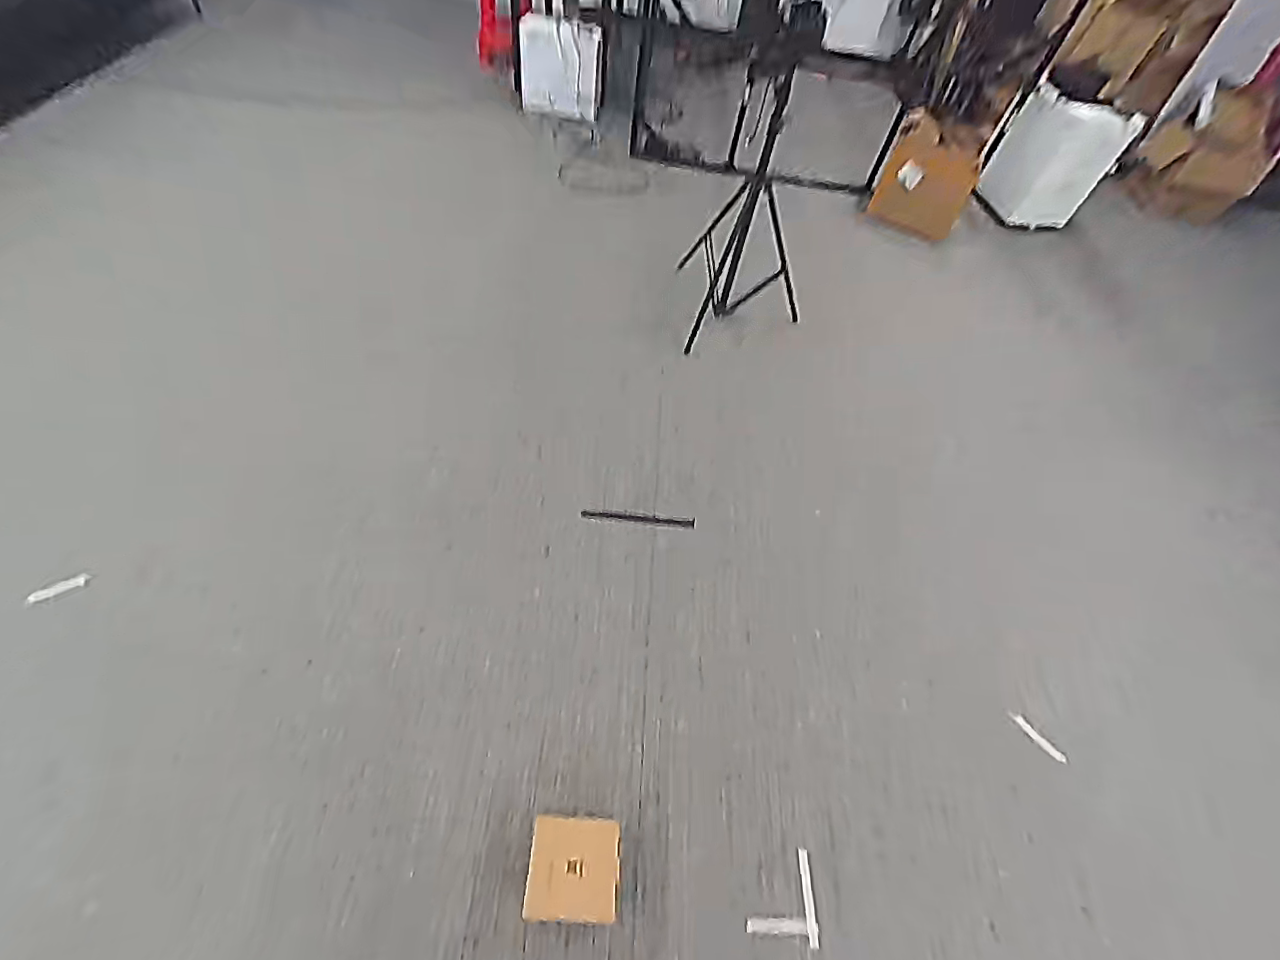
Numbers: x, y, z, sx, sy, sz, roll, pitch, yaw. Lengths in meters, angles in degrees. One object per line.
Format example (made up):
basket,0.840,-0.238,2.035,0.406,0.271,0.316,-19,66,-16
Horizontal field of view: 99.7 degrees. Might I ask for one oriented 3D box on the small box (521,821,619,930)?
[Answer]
small box,-0.141,0.811,1.113,0.179,0.176,0.168,5,52,-4
